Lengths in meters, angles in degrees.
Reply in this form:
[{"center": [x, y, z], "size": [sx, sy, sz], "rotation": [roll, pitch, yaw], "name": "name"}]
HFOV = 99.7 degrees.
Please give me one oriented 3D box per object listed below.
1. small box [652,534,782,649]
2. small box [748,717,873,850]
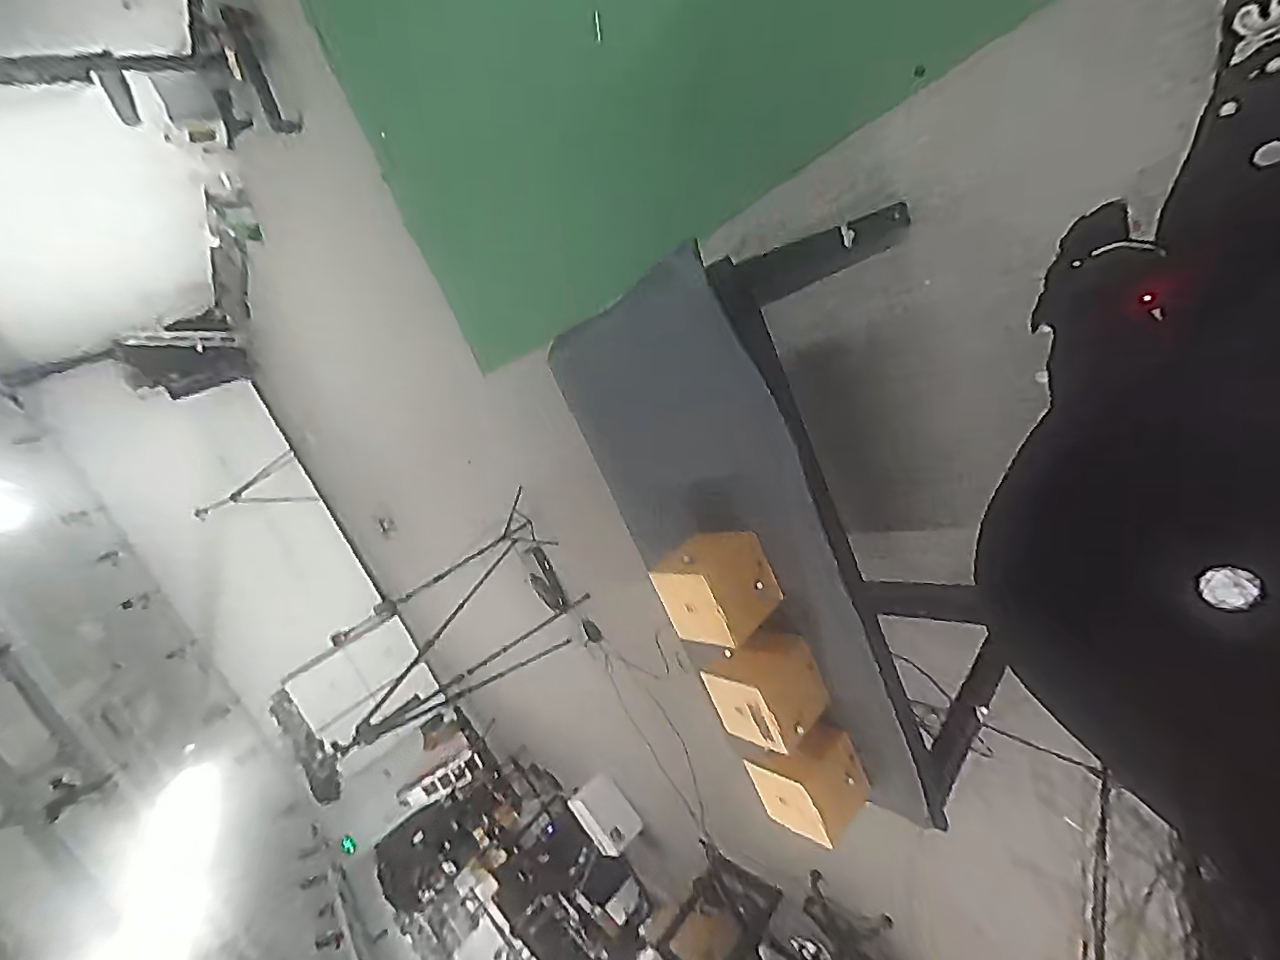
[{"center": [0.163, 0.225, 1.130], "size": [0.179, 0.176, 0.168], "rotation": [-13, 106, 52], "name": "small box"}, {"center": [0.378, 0.657, 1.198], "size": [0.179, 0.176, 0.168], "rotation": [-13, 106, 54], "name": "small box"}]
